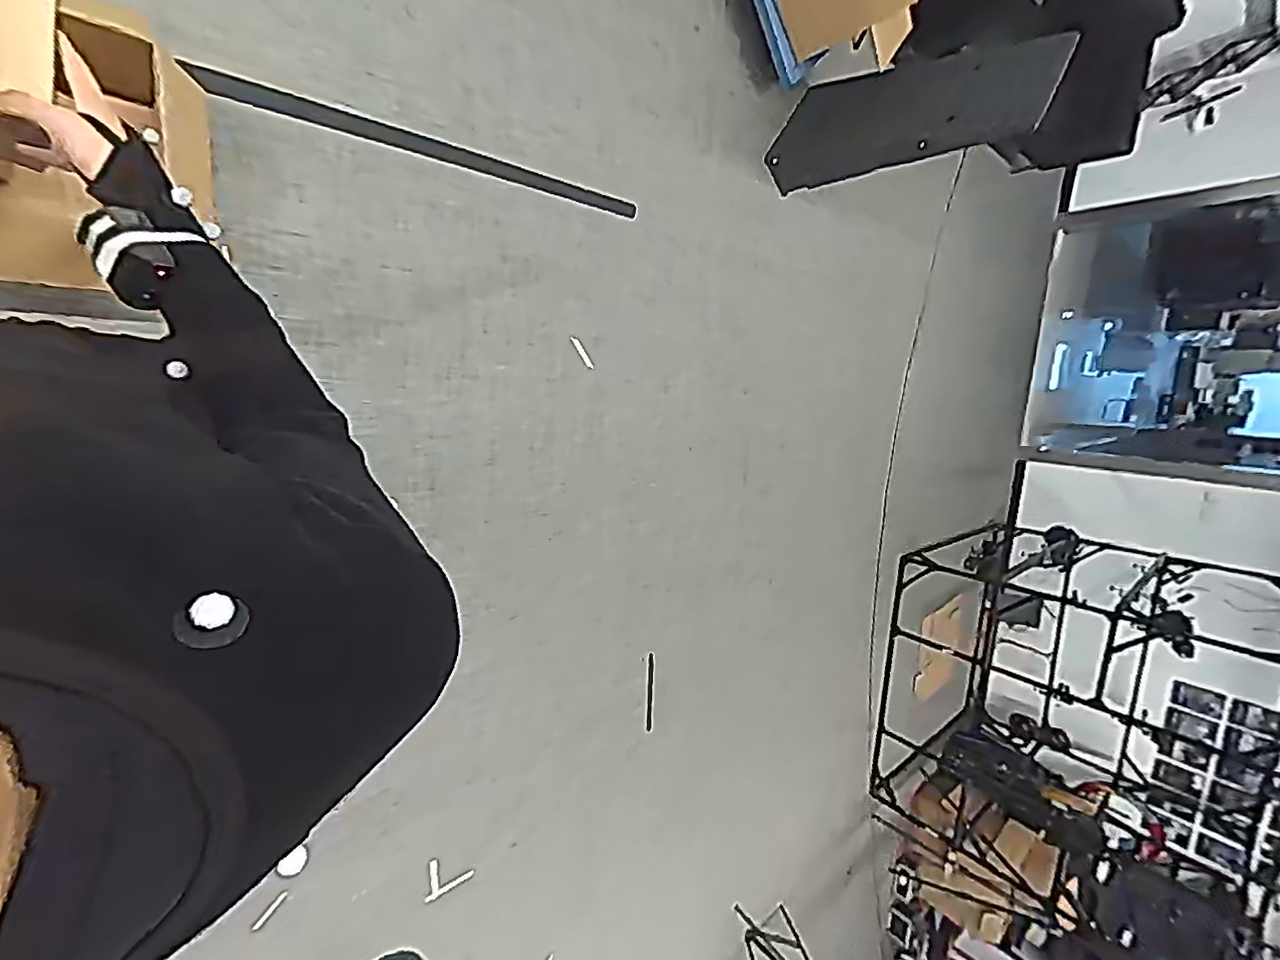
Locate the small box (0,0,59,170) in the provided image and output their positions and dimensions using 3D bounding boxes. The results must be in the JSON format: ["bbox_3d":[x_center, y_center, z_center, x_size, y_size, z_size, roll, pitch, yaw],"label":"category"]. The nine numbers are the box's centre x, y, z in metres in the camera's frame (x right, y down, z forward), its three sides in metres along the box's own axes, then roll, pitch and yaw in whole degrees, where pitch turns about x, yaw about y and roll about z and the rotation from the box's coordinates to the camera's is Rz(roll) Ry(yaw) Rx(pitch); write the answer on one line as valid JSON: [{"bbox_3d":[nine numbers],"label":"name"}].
[{"bbox_3d":[-0.587,-0.380,0.429,0.168,0.176,0.179,2,97,-50],"label":"small box"}]
